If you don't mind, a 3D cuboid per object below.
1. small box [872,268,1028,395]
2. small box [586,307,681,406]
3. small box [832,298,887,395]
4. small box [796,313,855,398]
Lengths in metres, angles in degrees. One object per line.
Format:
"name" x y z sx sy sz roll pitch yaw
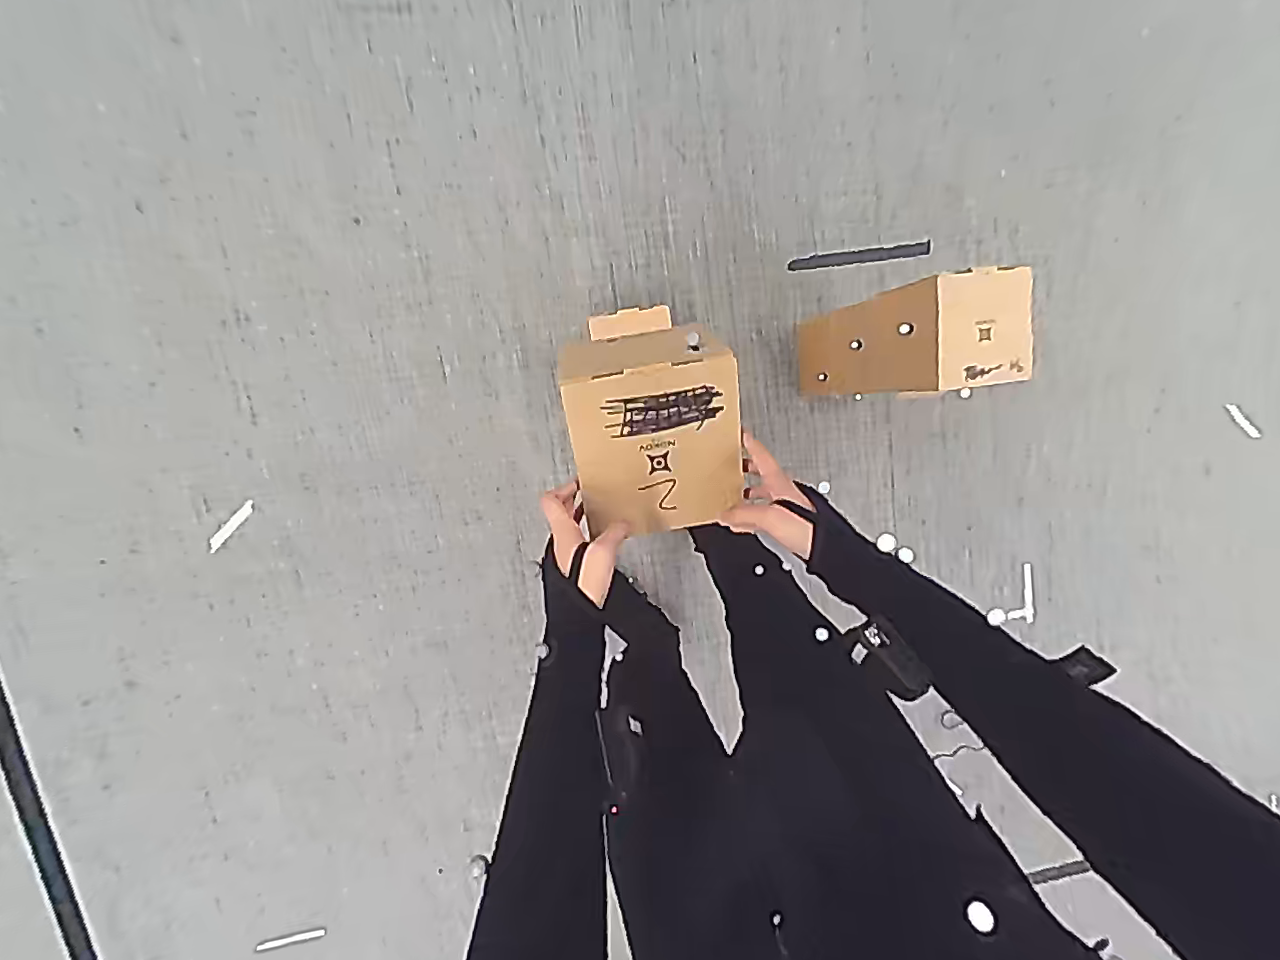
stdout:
"small box" 0.511 -0.241 0.910 0.168 0.176 0.179 -7 98 -8
"small box" -0.020 -0.258 1.162 0.168 0.176 0.179 -10 99 -6
"small box" 0.500 -0.263 1.074 0.168 0.176 0.179 -7 98 -8
"small box" 0.468 -0.283 1.234 0.168 0.176 0.179 -7 99 -8
